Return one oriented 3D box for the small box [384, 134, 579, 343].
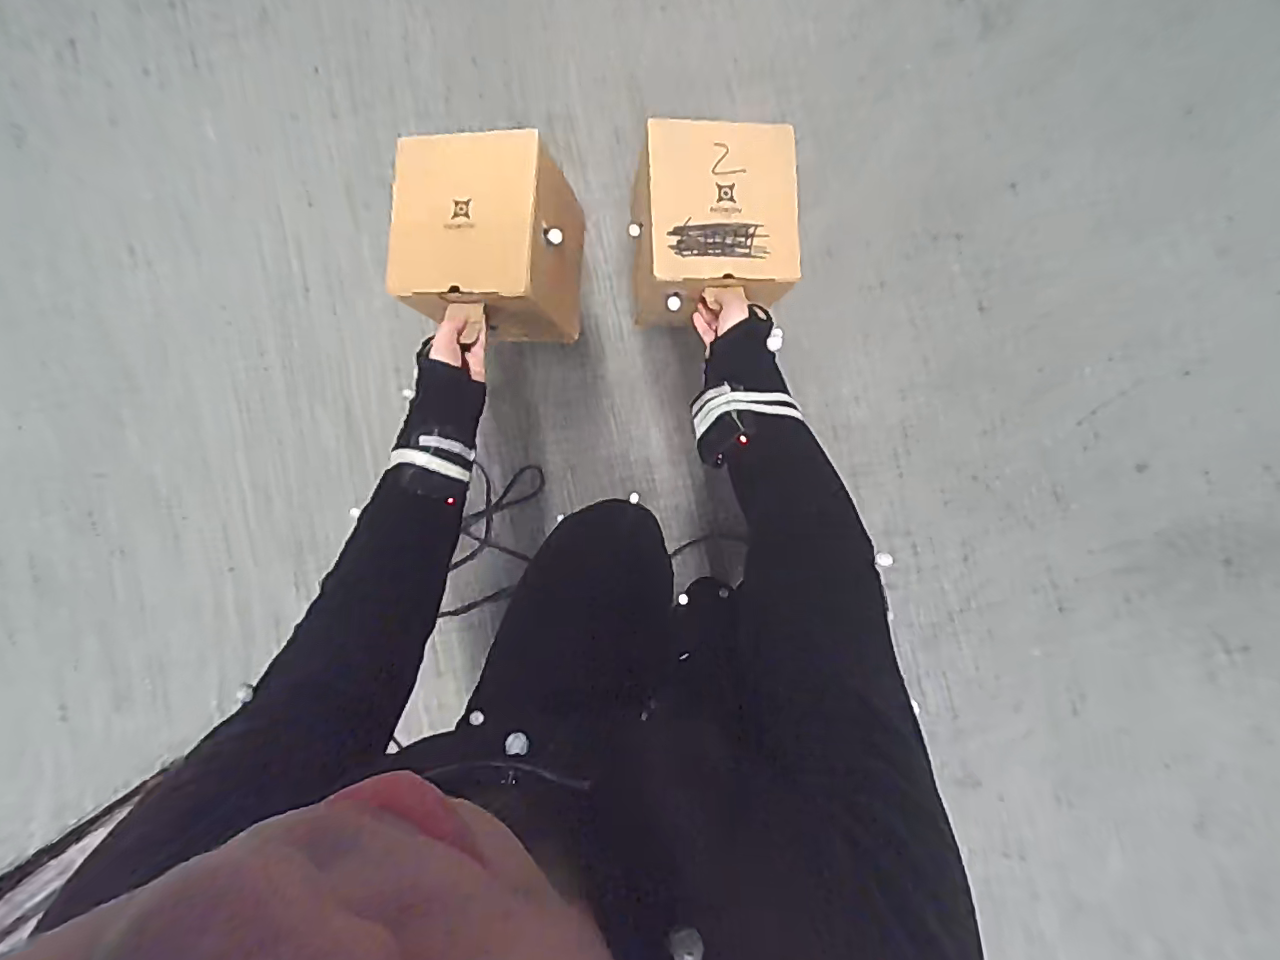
[{"bbox_3d":[-0.177,-0.277,0.651,0.168,0.176,0.179,4,90,11],"label":"small box"}]
